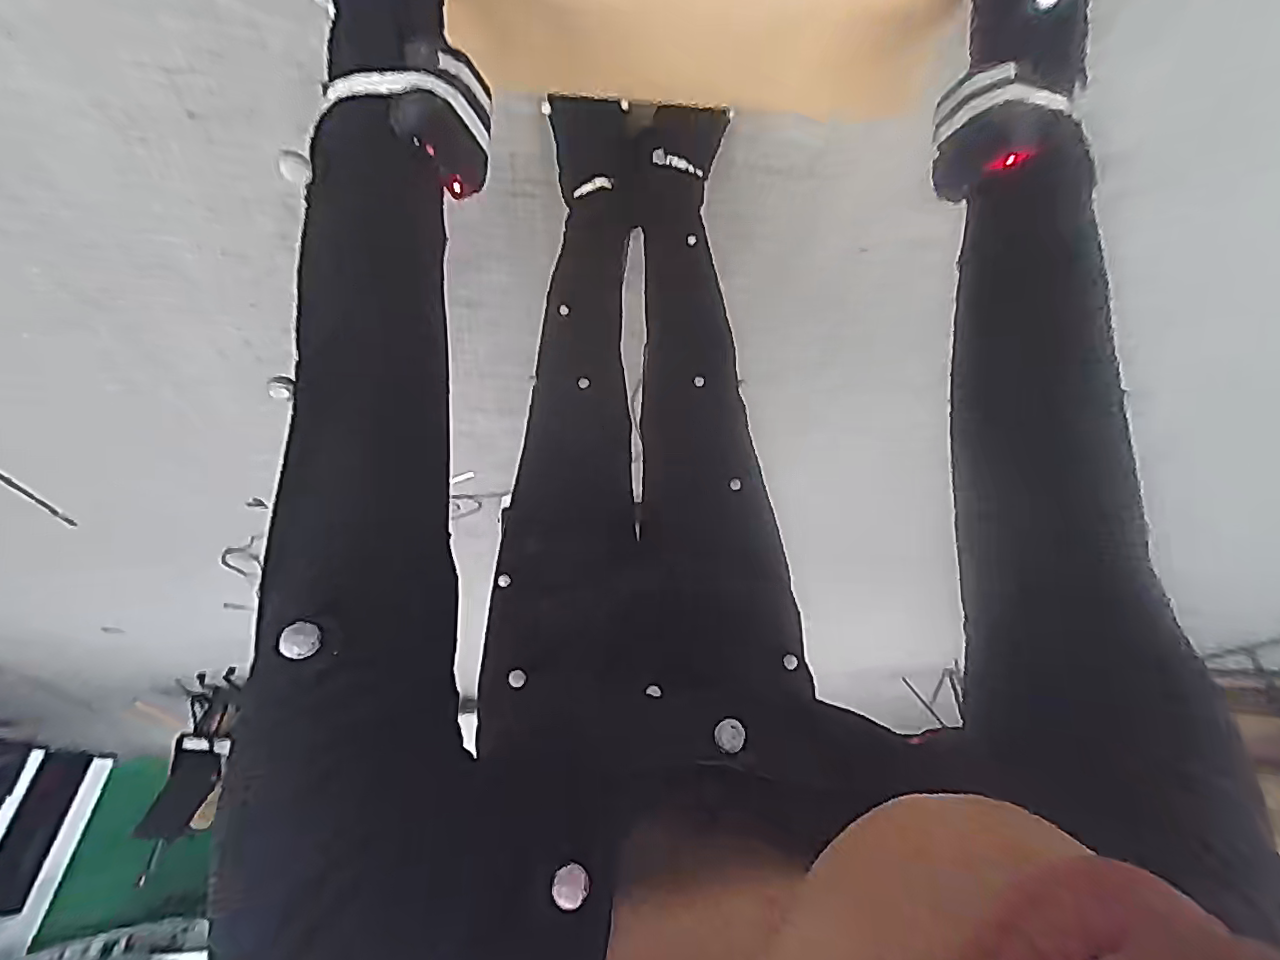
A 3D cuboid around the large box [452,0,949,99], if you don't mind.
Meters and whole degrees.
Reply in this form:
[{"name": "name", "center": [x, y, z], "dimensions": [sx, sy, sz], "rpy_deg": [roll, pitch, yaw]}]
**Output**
[{"name": "large box", "center": [0.050, -0.555, 0.431], "dimensions": [0.408, 0.320, 0.320], "rpy_deg": [1, 149, -4]}]
